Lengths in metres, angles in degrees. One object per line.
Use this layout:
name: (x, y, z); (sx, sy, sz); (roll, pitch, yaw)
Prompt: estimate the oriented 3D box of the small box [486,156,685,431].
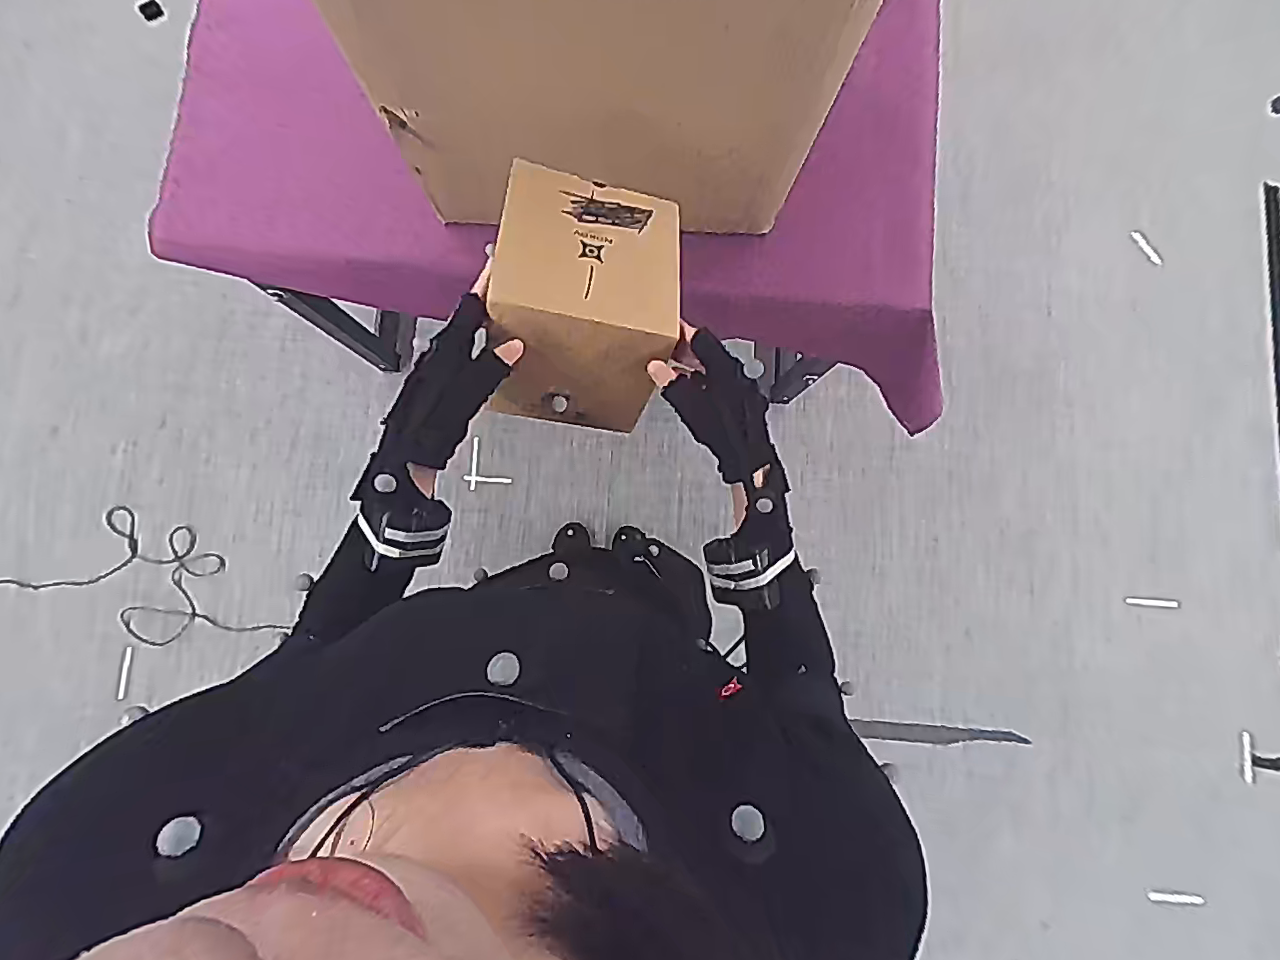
small box: (-0.060, -0.176, 0.544); (0.168, 0.176, 0.179); (8, 61, -13)
